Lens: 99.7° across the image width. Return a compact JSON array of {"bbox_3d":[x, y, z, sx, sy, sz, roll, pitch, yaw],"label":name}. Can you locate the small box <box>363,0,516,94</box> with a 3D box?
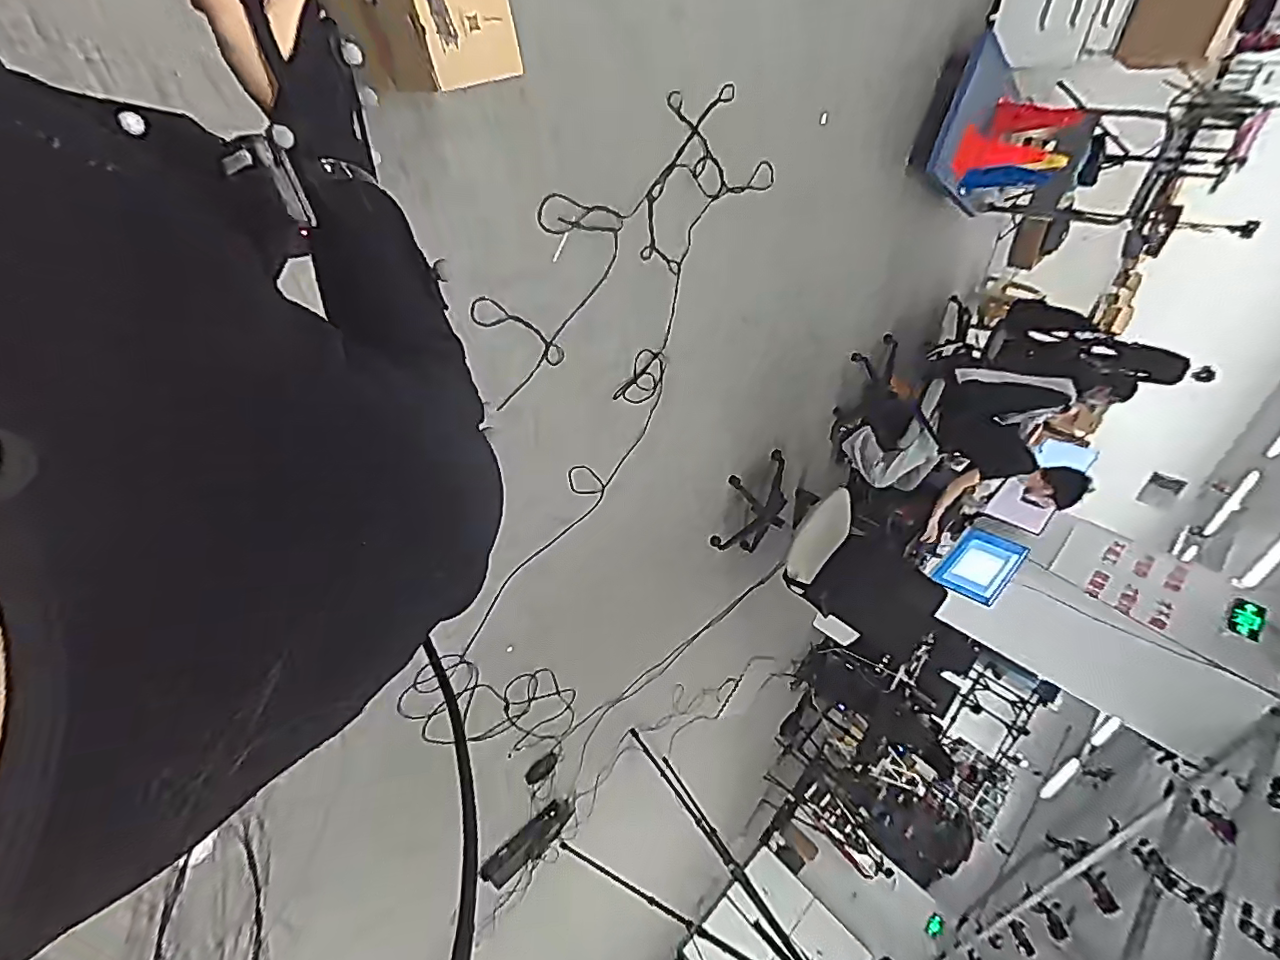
[{"bbox_3d":[-0.352,-0.784,0.938,0.179,0.176,0.168,-38,139,-28],"label":"small box"}]

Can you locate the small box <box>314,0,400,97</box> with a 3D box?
[{"bbox_3d":[-0.475,-0.846,1.029,0.179,0.176,0.168,-37,138,-27],"label":"small box"}]
